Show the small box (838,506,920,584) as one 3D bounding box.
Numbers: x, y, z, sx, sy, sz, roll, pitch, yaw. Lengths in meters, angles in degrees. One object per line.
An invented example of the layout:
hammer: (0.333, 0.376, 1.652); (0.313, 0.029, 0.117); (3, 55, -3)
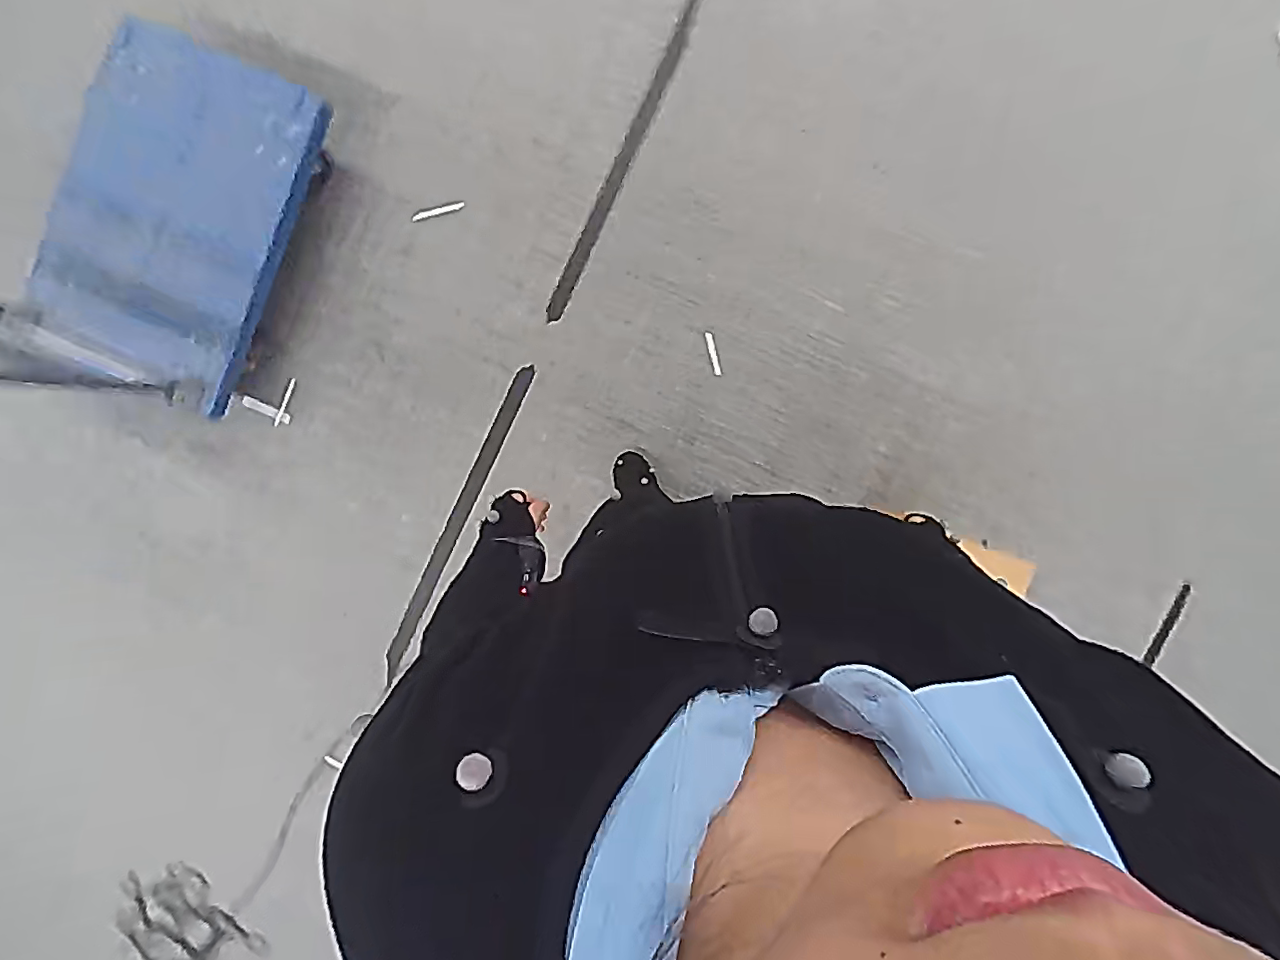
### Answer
small box: (0.638, 0.175, 1.383); (0.179, 0.176, 0.168); (24, 94, 3)

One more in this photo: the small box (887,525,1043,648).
small box: (0.619, 0.196, 1.054); (0.179, 0.176, 0.168); (20, 93, 4)
